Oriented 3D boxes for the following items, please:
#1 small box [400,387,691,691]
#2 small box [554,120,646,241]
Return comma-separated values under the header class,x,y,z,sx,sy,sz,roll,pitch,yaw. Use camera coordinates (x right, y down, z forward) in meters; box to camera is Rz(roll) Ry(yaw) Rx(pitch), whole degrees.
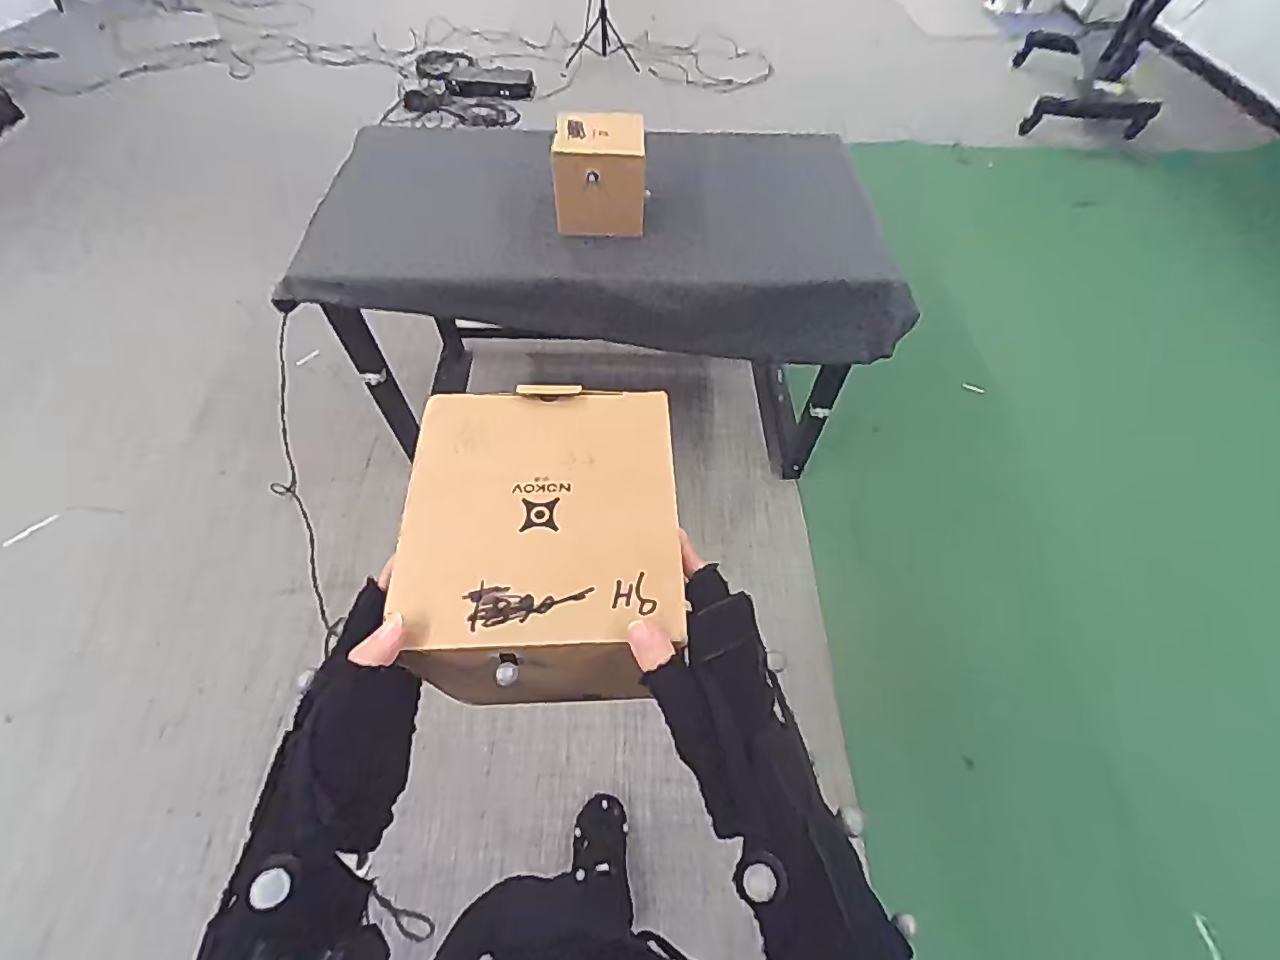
class,x,y,z,sx,sy,sz,roll,pitch,yaw
small box,-0.061,0.050,0.413,0.168,0.176,0.179,-3,59,-5
small box,-0.077,-0.619,1.124,0.179,0.176,0.168,1,56,-2
